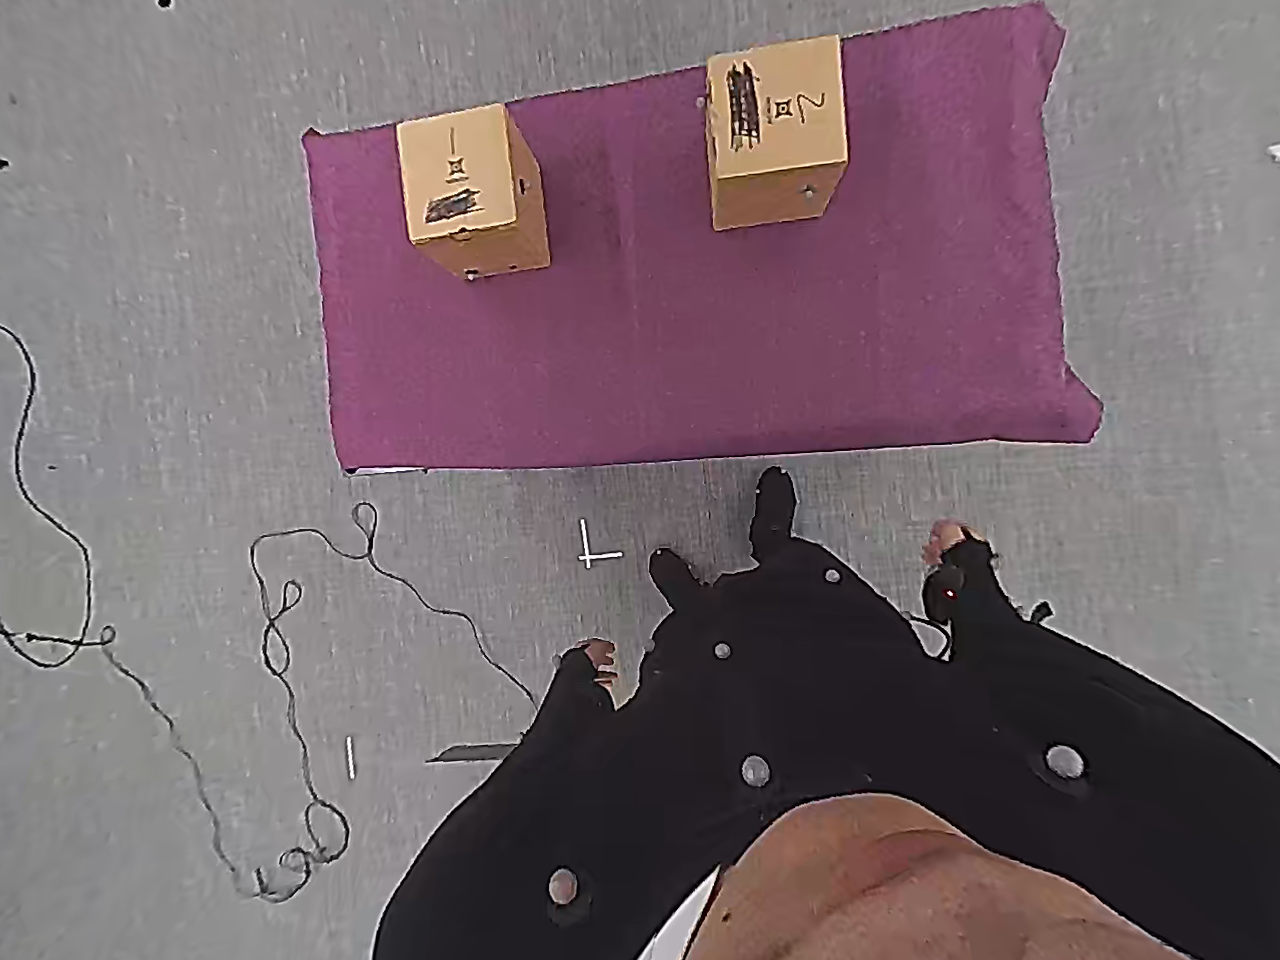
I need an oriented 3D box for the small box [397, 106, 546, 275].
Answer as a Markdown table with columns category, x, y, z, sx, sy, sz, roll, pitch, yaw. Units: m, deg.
| category | x | y | z | sx | sy | sz | roll | pitch | yaw |
| --- | --- | --- | --- | --- | --- | --- | --- | --- | --- |
| small box | -0.257 | -0.442 | 0.860 | 0.168 | 0.176 | 0.179 | -6 | 90 | 6 |
